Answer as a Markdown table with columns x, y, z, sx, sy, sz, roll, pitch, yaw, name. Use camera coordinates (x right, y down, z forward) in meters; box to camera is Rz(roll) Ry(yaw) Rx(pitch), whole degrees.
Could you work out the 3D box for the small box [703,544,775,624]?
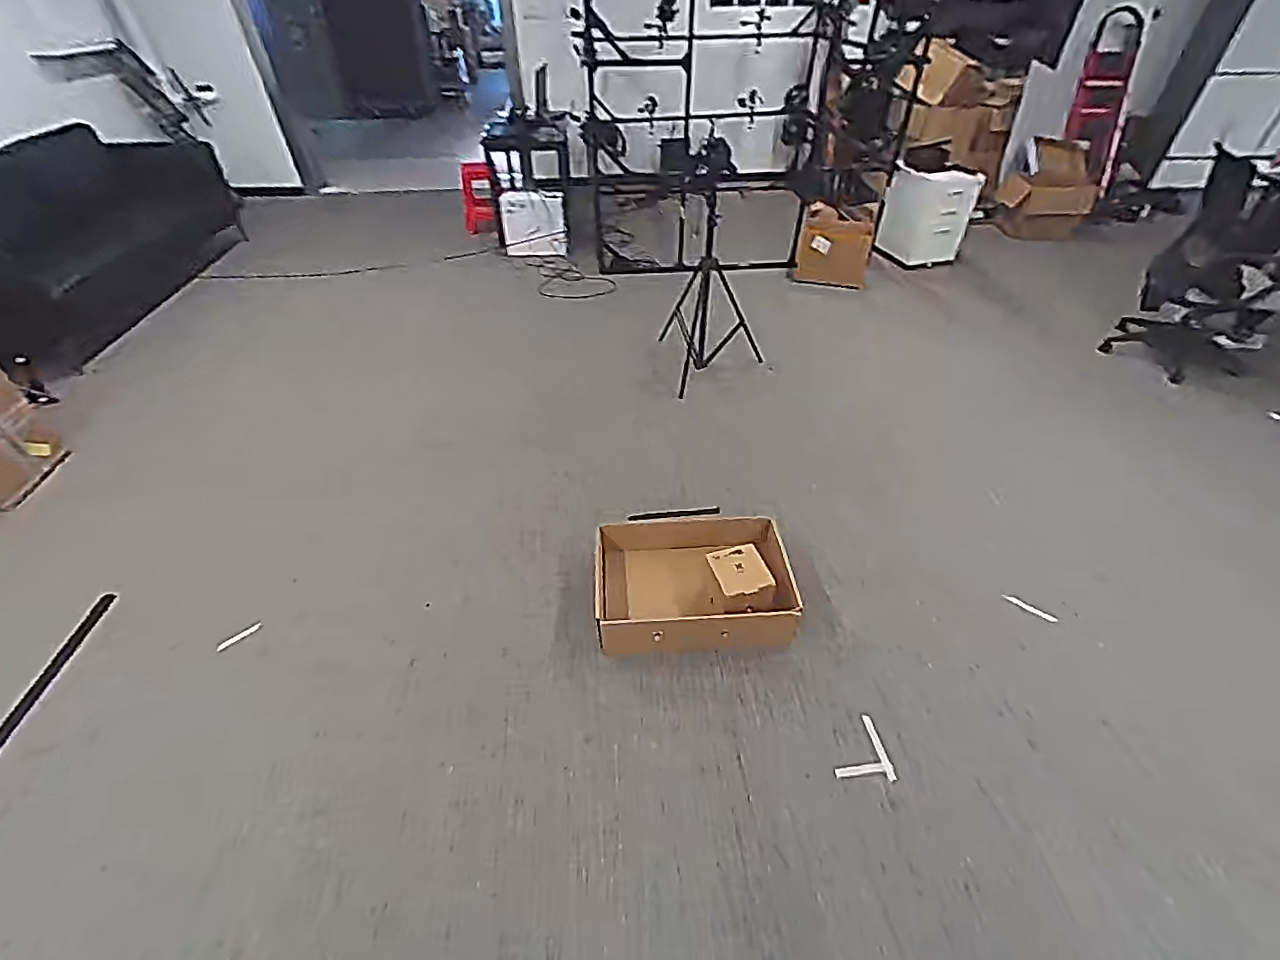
| x | y | z | sx | sy | sz | roll | pitch | yaw | name |
| --- | --- | --- | --- | --- | --- | --- | --- | --- | --- |
| 0.309 | 0.337 | 1.719 | 0.168 | 0.176 | 0.179 | -11 | 43 | -11 | small box |
